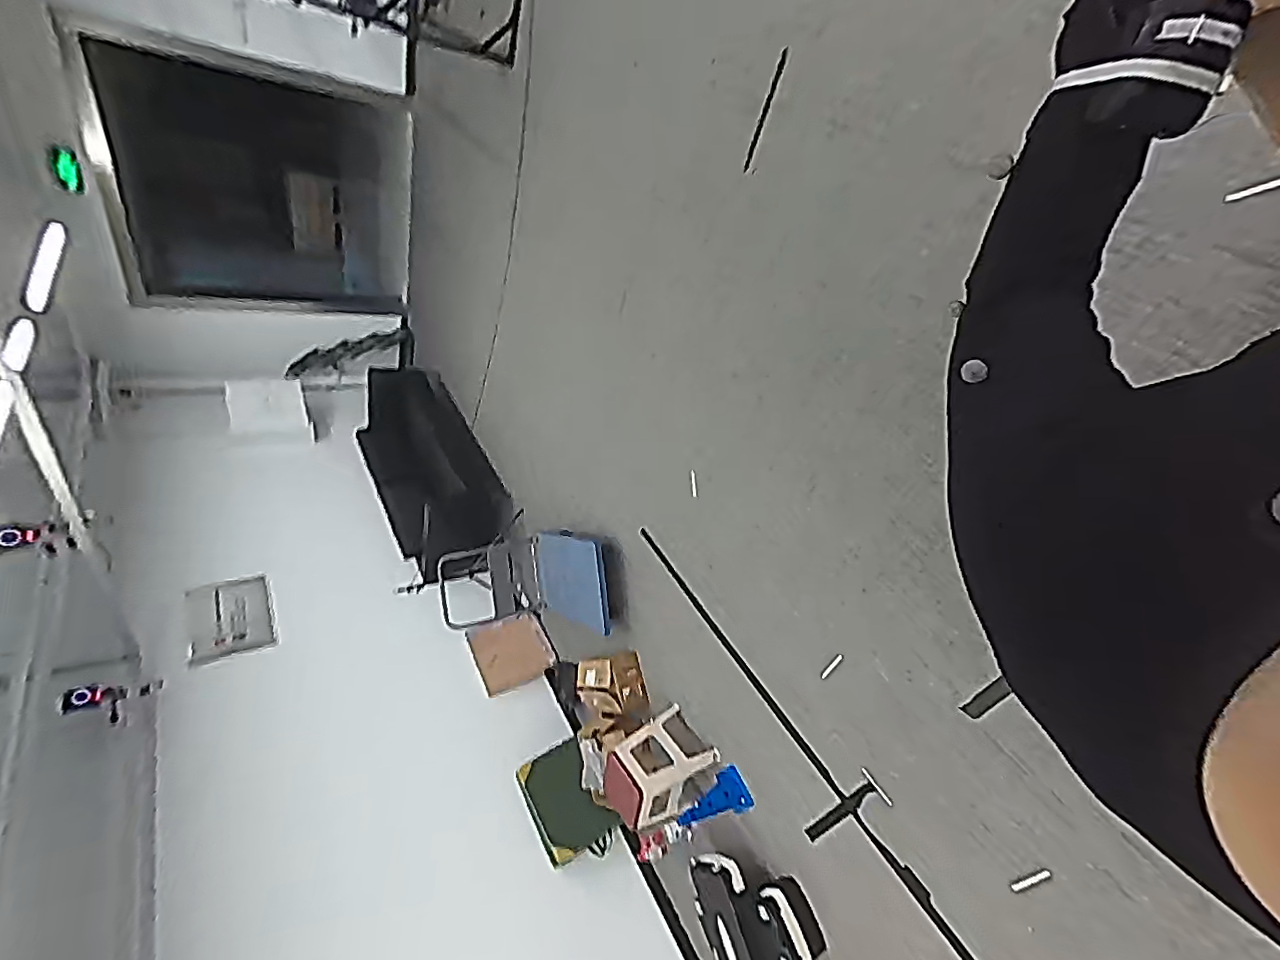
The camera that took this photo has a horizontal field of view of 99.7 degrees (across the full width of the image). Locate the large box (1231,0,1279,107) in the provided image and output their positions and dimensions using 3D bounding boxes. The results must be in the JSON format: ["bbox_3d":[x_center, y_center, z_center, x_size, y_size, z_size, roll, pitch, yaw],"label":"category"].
[{"bbox_3d":[0.596,-0.416,0.231,0.408,0.320,0.320,15,108,54],"label":"large box"}]
